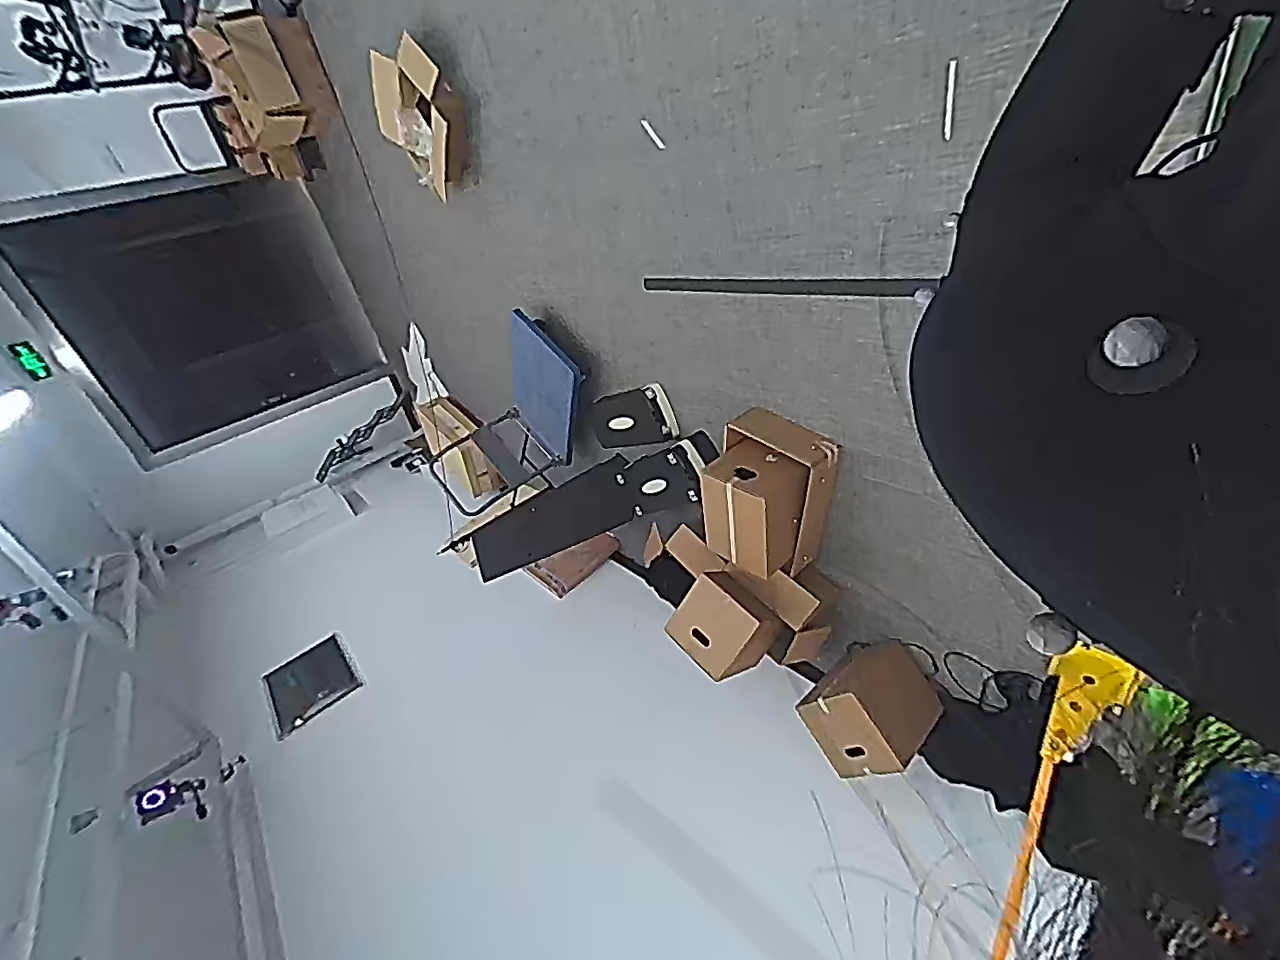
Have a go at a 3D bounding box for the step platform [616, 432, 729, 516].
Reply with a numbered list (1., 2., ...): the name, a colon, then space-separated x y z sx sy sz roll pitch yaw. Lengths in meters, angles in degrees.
1. step platform: 0.138 -0.009 2.728 0.286 0.204 0.684 60 150 -5
